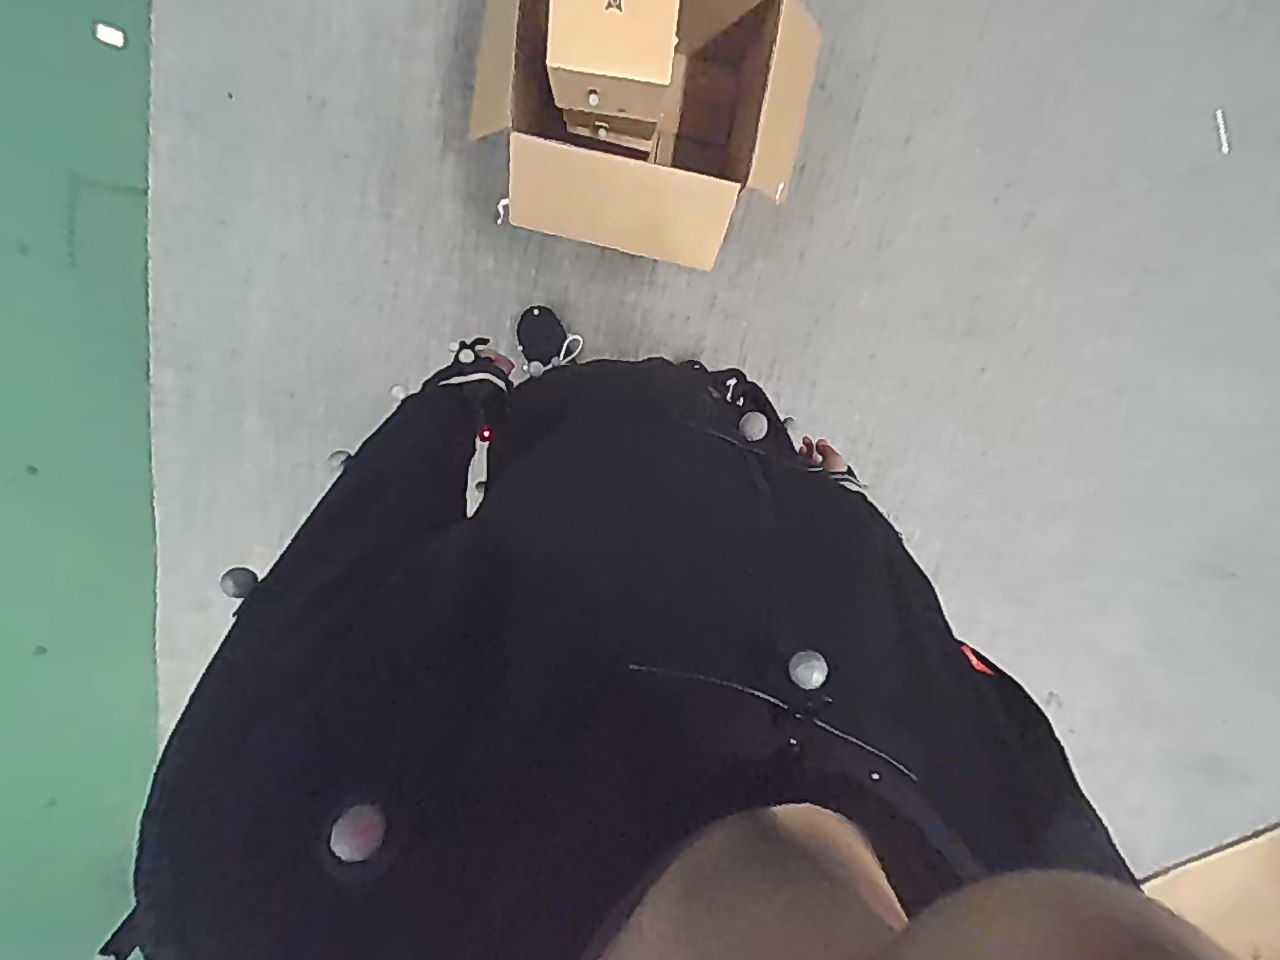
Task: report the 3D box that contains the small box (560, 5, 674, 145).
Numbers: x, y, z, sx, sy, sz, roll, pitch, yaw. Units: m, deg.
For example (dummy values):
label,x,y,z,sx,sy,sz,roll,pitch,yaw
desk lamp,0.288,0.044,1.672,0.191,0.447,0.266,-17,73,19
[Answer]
label,x,y,z,sx,sy,sz,roll,pitch,yaw
small box,-0.046,-0.693,0.904,0.168,0.176,0.179,7,108,-7

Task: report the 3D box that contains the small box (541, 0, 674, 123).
label,x,y,z,sx,sy,sz,roll,pitch,yaw
small box,-0.042,-0.628,0.755,0.168,0.176,0.179,5,107,-5
